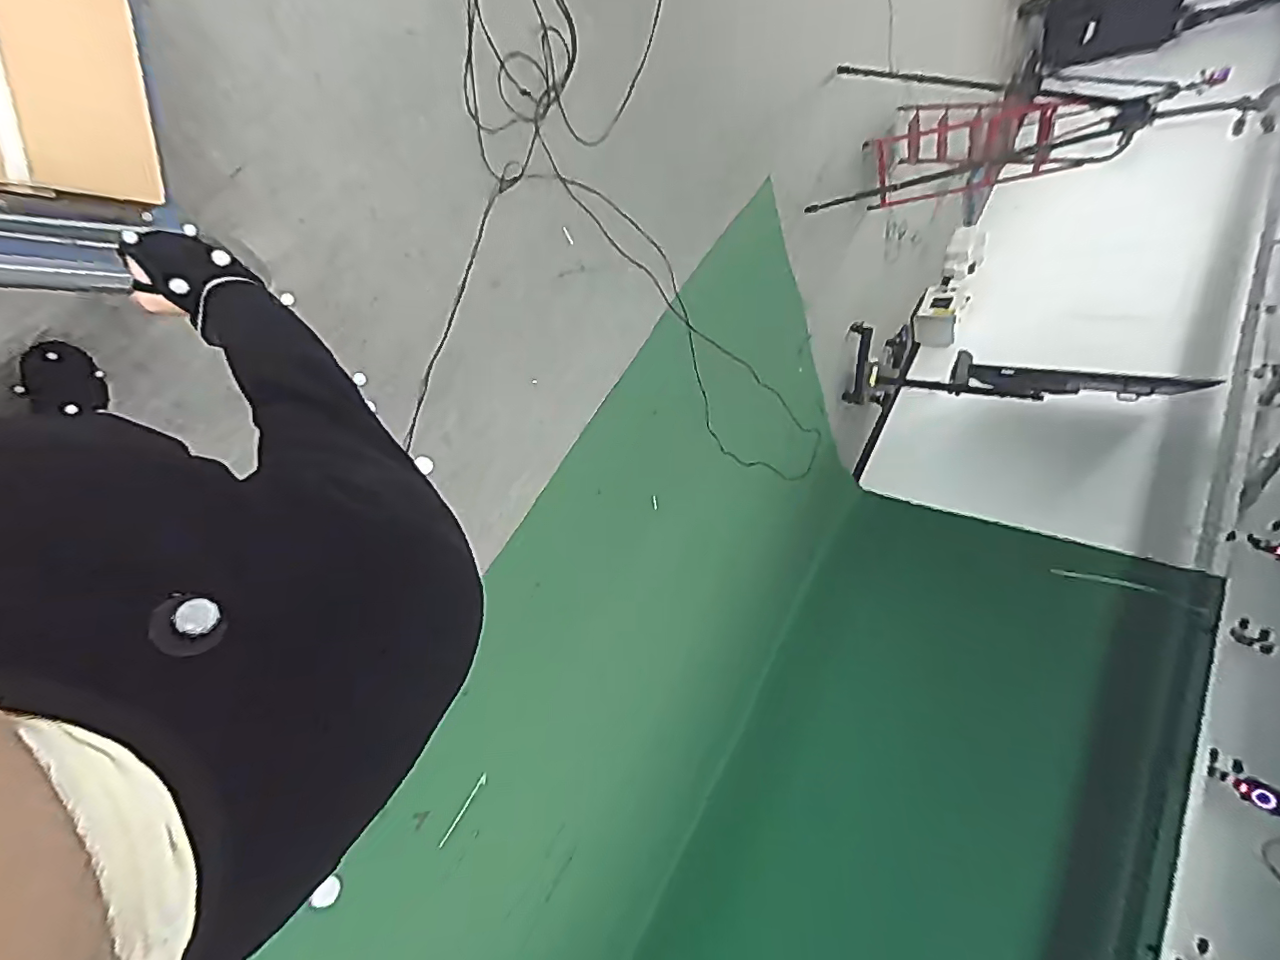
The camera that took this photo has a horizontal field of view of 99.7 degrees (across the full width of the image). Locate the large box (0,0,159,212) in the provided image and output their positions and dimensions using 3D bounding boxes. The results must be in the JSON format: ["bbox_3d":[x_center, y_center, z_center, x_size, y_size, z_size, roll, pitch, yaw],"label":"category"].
[{"bbox_3d":[-0.962,-0.633,0.773,0.320,0.320,0.408,-17,116,-48],"label":"large box"}]
